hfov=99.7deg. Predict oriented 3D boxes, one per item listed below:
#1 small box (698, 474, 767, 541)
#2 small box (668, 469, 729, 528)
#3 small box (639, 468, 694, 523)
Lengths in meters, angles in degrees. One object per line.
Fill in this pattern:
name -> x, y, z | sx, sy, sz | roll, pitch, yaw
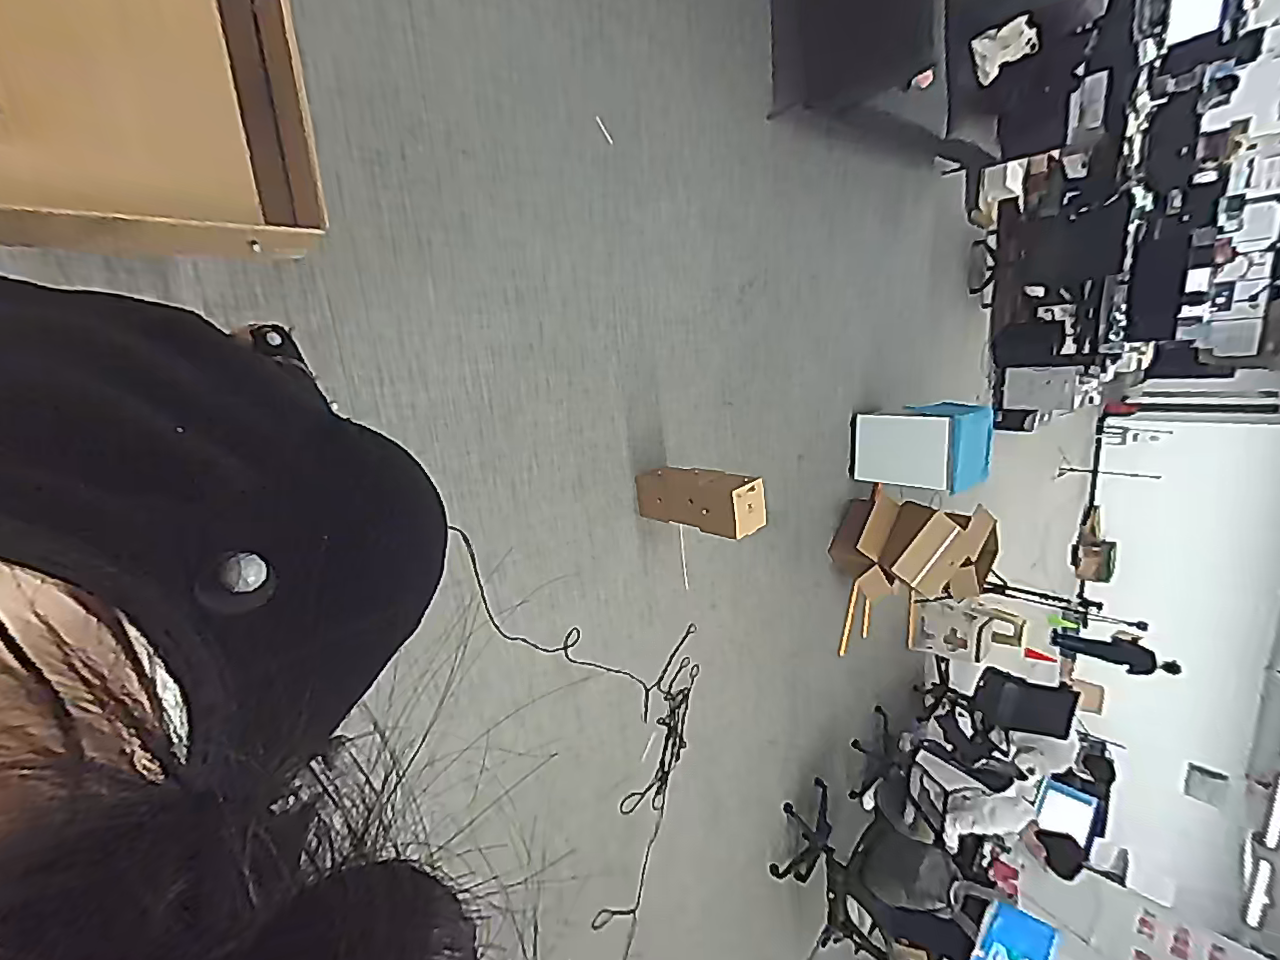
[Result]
small box -> 0.319, 0.088, 1.869 | 0.168, 0.176, 0.179 | -20, 110, -39
small box -> 0.220, 0.061, 1.997 | 0.168, 0.176, 0.179 | -17, 108, -39
small box -> 0.110, 0.053, 2.119 | 0.168, 0.176, 0.179 | -18, 109, -39
